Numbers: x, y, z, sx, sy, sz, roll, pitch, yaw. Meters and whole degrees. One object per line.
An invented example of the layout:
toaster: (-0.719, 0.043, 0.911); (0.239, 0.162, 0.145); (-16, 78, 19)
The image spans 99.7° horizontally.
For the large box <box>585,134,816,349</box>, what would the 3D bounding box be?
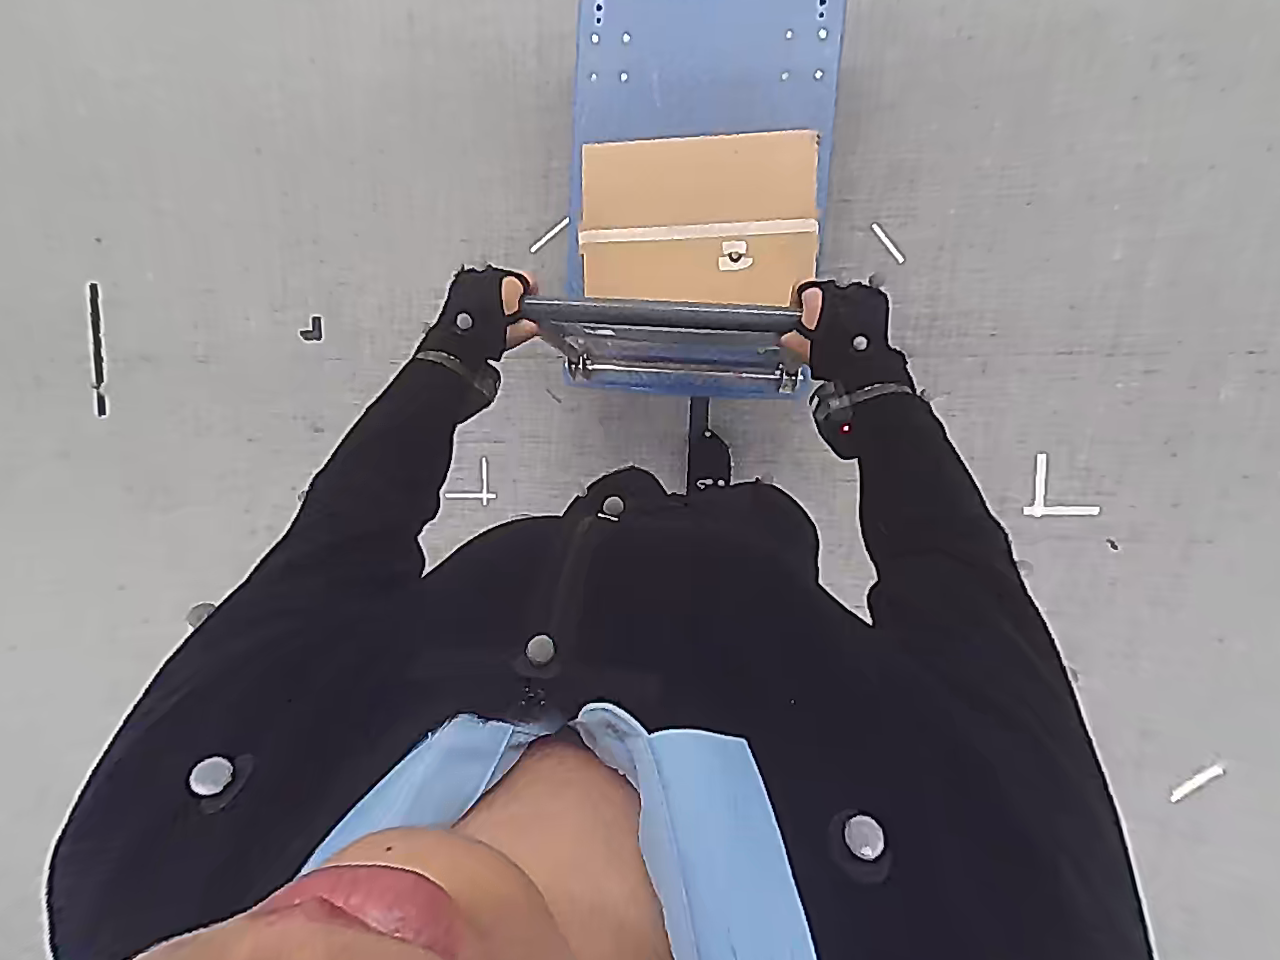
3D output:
large box: (0.116, -0.448, 1.097); (0.408, 0.320, 0.320); (0, 97, 6)
